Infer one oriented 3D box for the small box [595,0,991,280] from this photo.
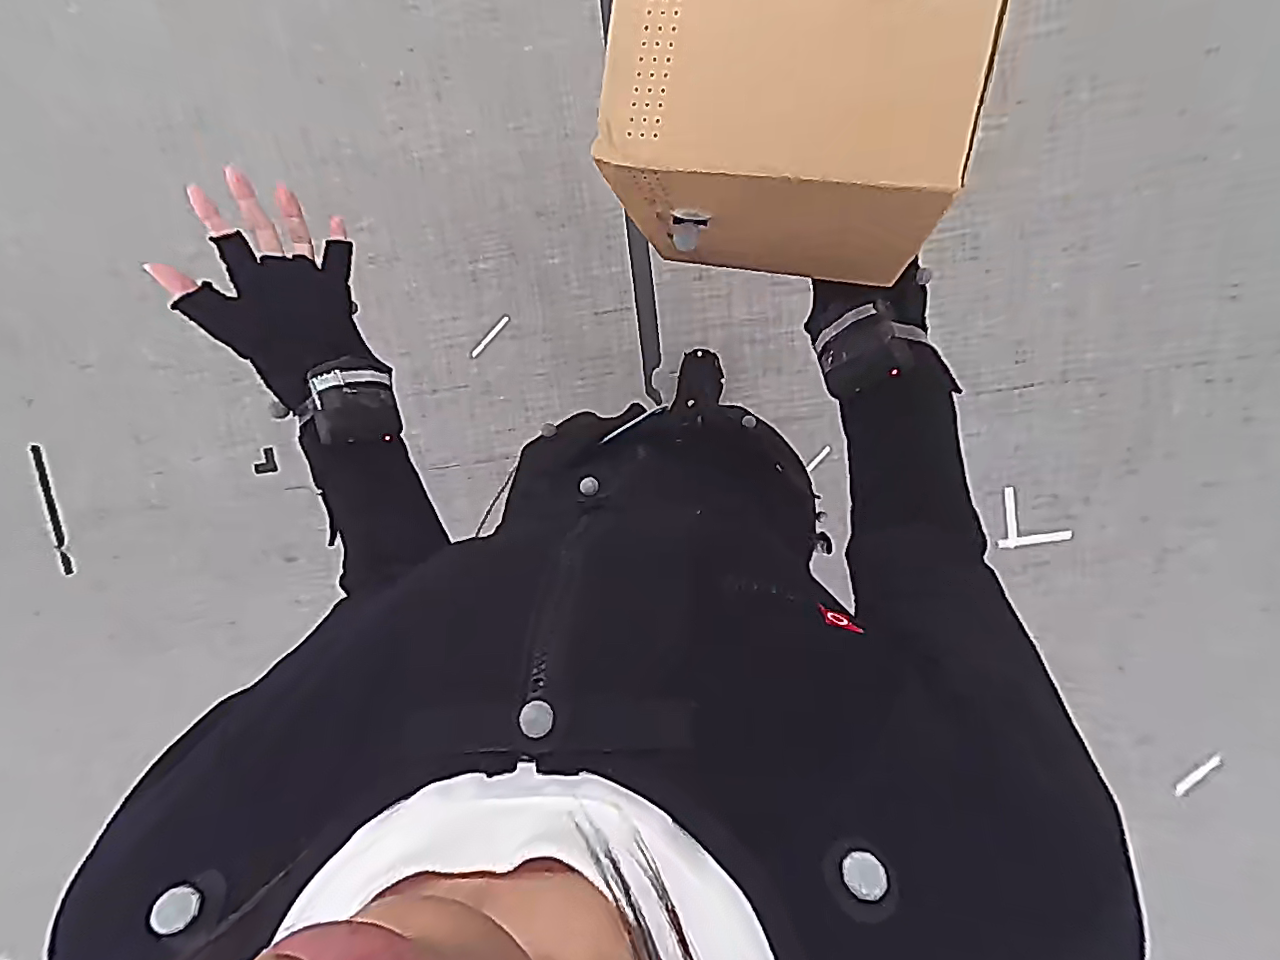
[{"bbox_3d":[0.084,-0.234,0.313,0.176,0.168,0.179,12,99,14],"label":"small box"}]
